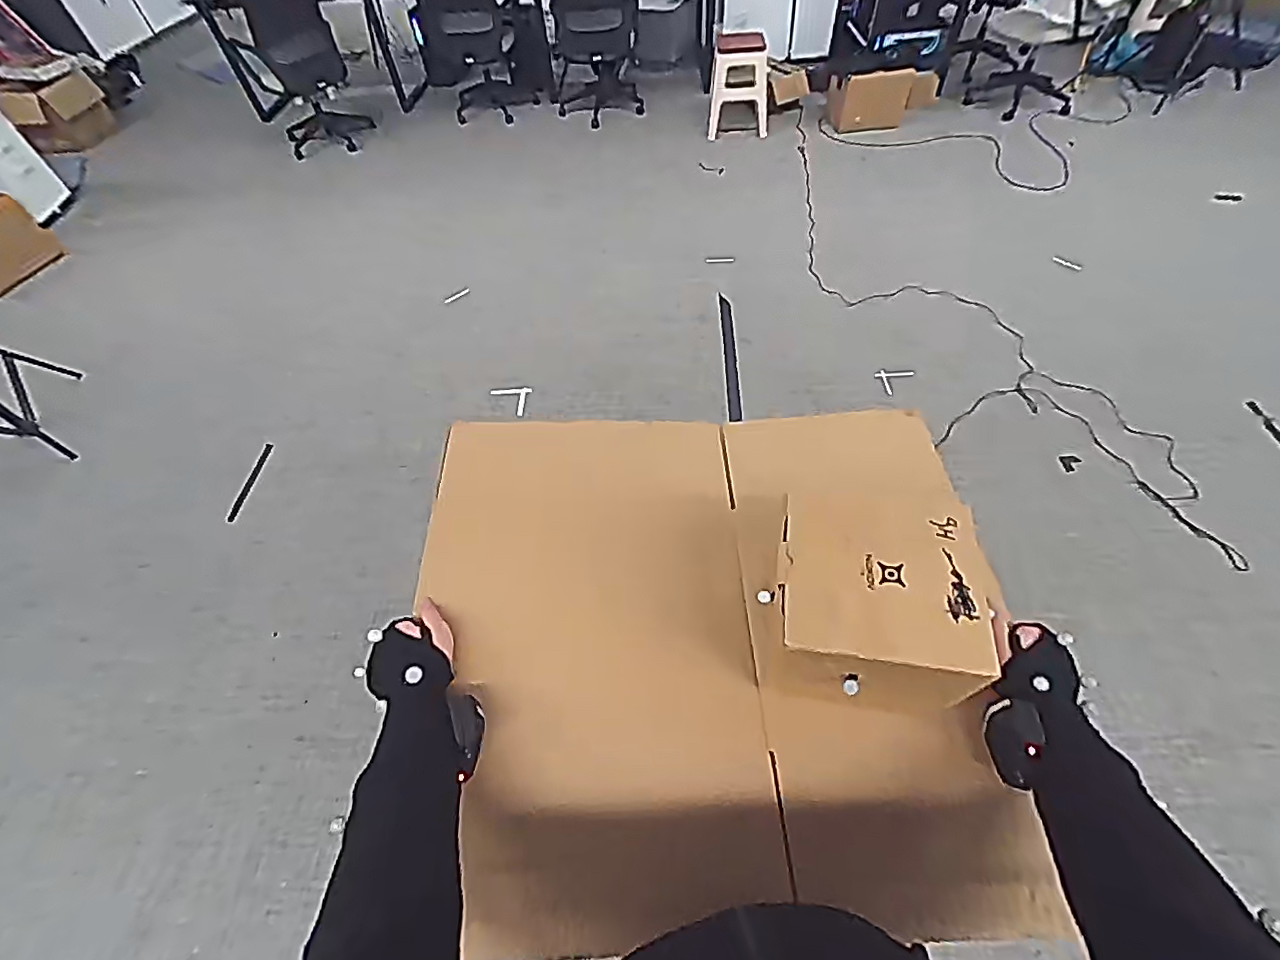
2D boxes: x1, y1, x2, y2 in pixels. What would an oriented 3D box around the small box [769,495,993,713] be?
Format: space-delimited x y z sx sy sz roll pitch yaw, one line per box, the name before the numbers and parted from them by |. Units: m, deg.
small box | 0.232 0.134 0.571 0.179 0.176 0.168 5 56 11
